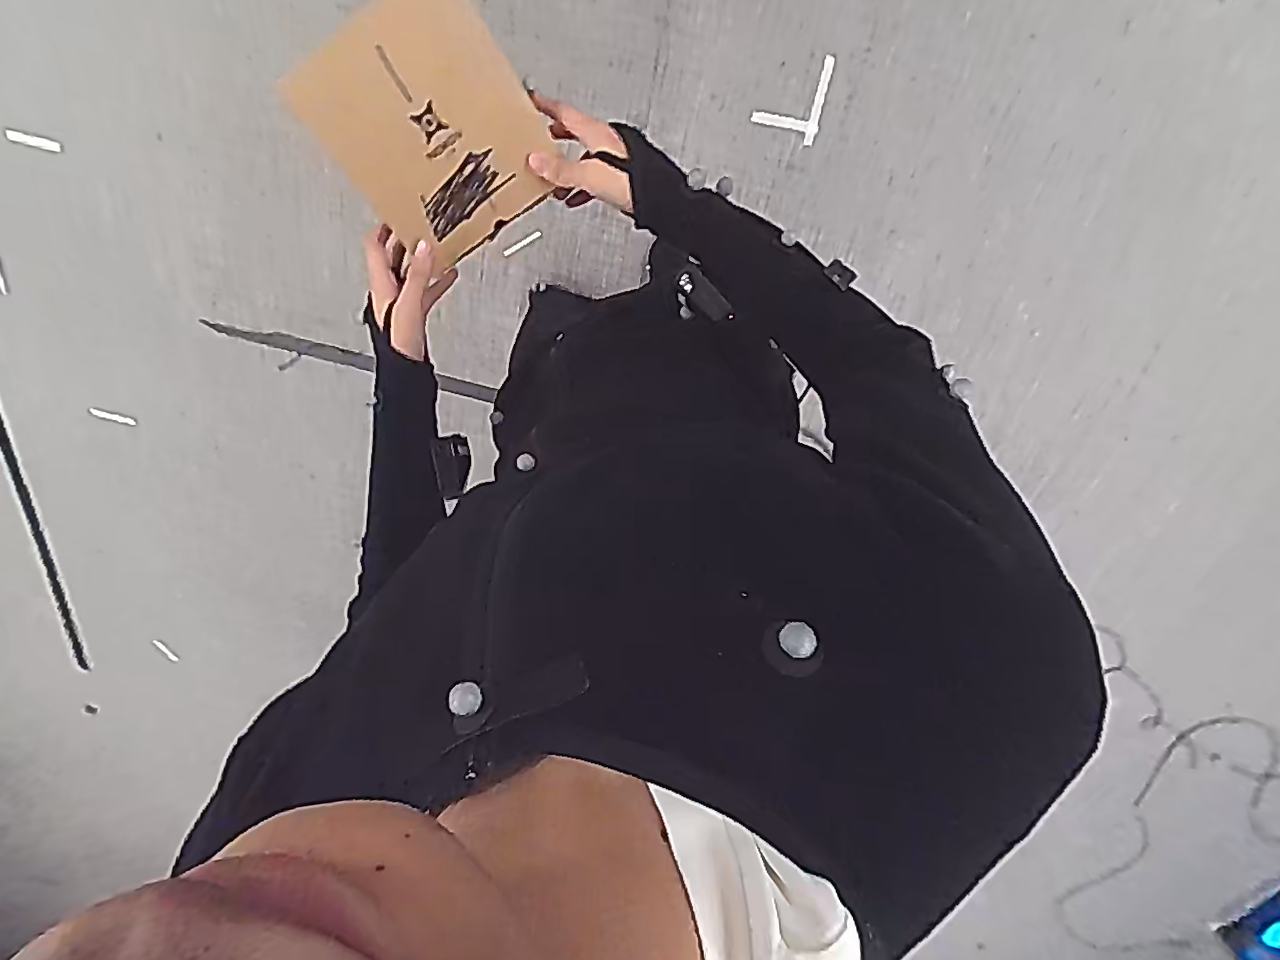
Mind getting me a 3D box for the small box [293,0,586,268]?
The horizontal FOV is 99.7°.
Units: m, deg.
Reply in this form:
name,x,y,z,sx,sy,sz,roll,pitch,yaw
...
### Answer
name,x,y,z,sx,sy,sz,roll,pitch,yaw
small box,-0.169,-0.339,0.512,0.168,0.176,0.179,-30,125,10
